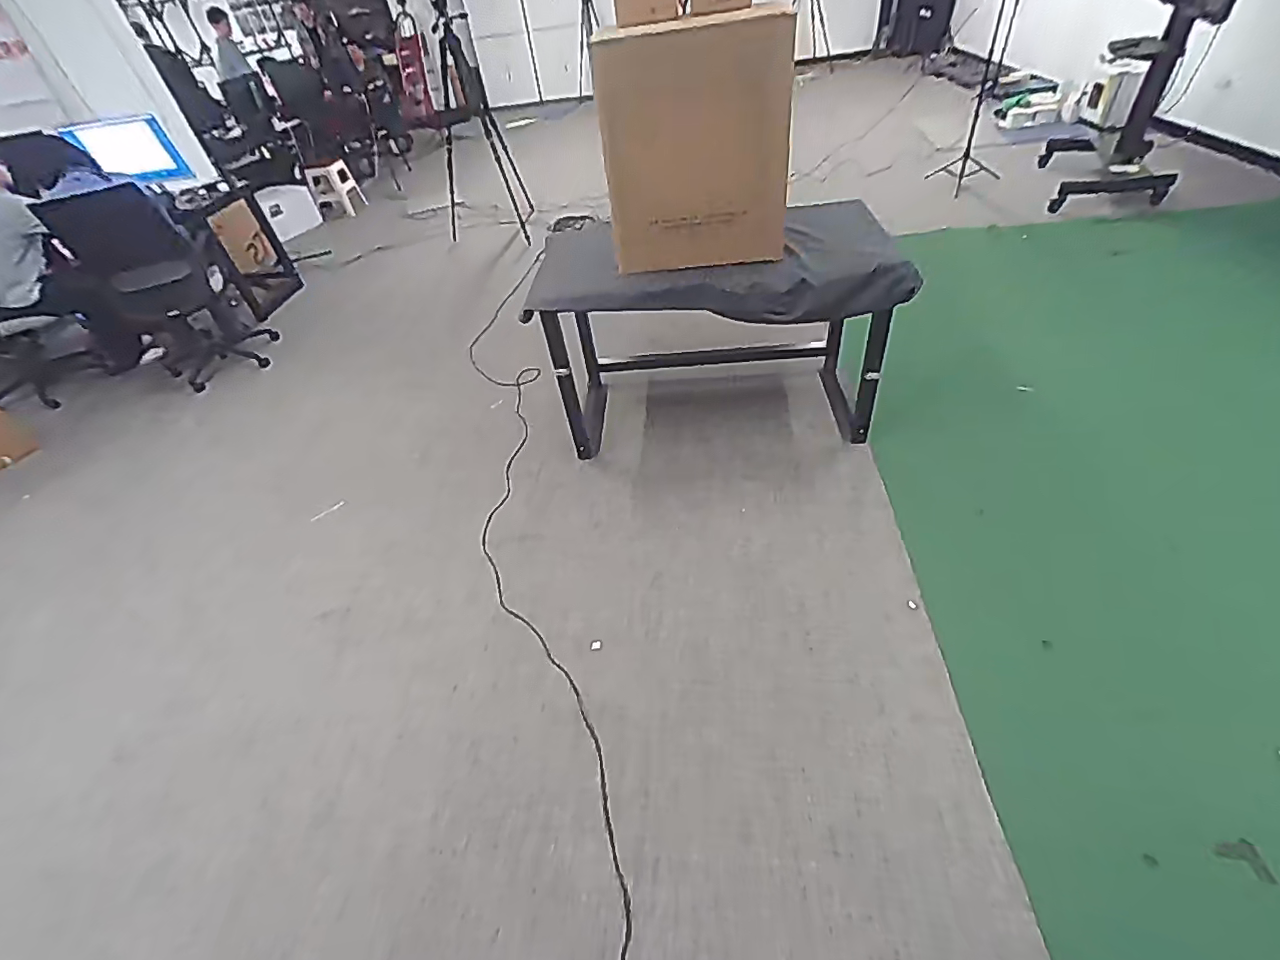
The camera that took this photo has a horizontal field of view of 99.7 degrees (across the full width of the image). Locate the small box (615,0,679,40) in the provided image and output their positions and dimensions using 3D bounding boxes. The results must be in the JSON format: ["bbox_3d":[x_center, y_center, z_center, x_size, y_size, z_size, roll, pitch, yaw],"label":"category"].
[{"bbox_3d":[0.018,-1.337,1.493,0.168,0.176,0.179,-3,41,9],"label":"small box"}]
